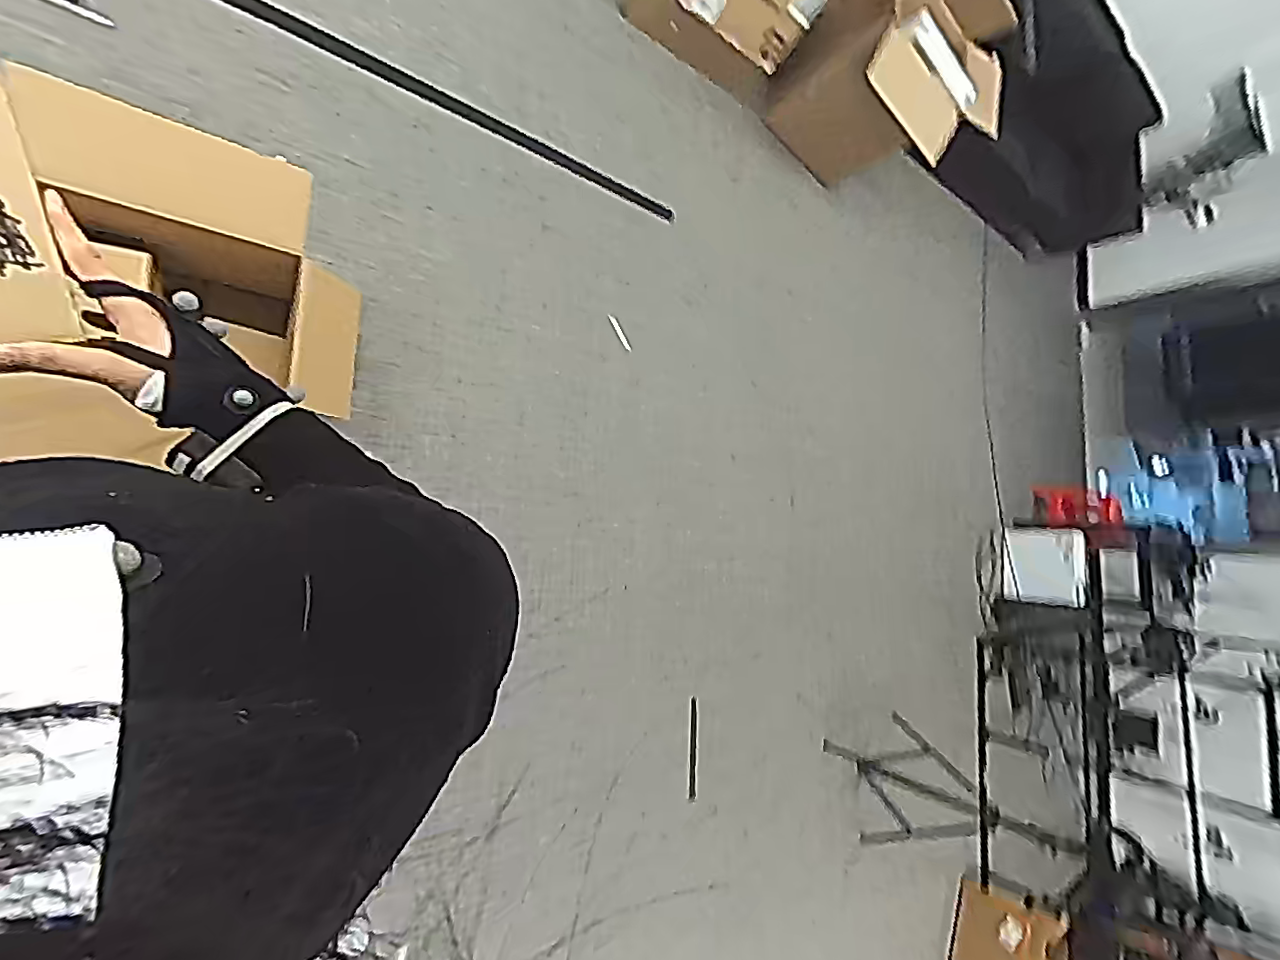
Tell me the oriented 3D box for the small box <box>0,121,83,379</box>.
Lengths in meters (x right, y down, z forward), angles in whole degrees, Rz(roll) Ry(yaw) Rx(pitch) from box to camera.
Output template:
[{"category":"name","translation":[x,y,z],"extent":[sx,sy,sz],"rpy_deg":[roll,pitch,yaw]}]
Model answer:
[{"category":"small box","translation":[-0.511,-0.151,0.351],"extent":[0.179,0.176,0.168],"rpy_deg":[-20,105,-42]}]
